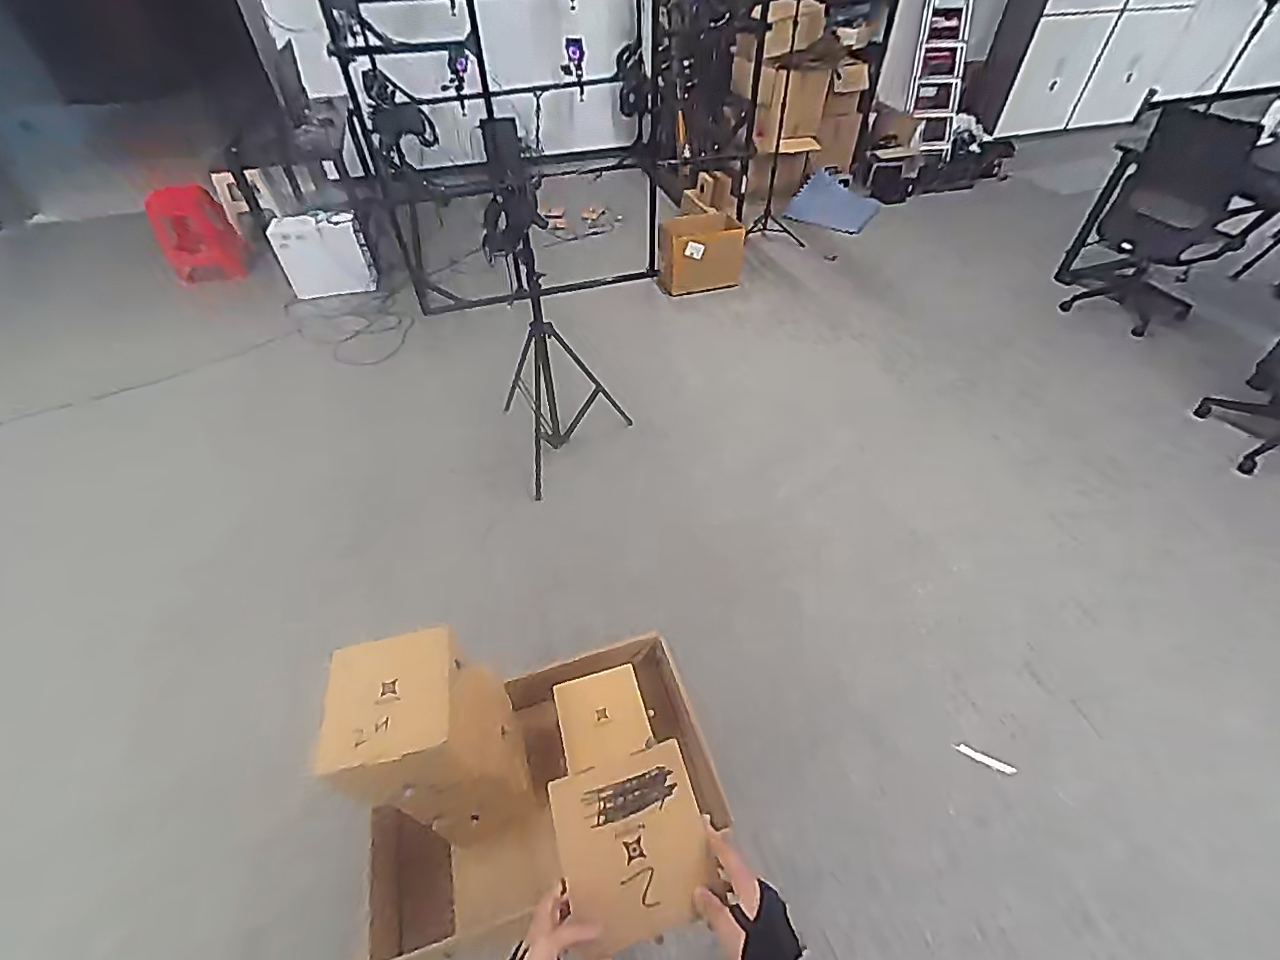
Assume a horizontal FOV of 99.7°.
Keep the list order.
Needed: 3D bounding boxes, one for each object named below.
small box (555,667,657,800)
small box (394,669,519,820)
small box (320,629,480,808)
[{"bbox_3d":[-0.069,0.513,1.094,0.168,0.176,0.179,-13,49,-10],"label":"small box"},{"bbox_3d":[-0.308,0.458,0.926,0.168,0.176,0.179,-11,47,-9],"label":"small box"},{"bbox_3d":[-0.339,0.352,0.800,0.168,0.176,0.179,-10,48,-8],"label":"small box"}]
